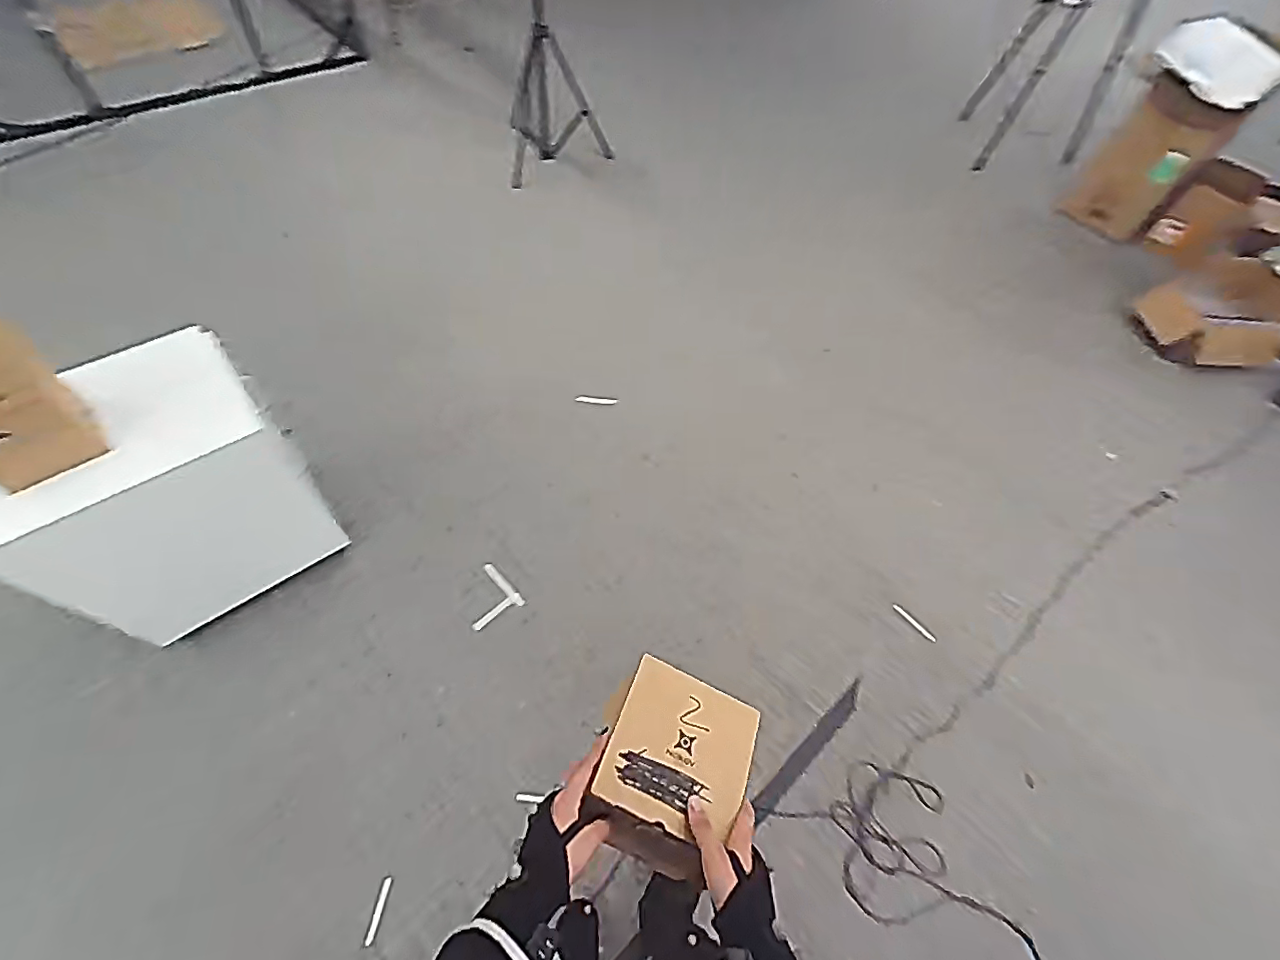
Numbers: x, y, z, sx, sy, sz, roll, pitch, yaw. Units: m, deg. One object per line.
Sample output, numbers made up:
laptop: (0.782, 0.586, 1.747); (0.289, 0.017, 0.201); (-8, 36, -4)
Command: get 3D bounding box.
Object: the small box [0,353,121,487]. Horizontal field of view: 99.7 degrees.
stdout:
small box: (-1.177, -0.118, 1.044); (0.179, 0.176, 0.168); (-34, 67, -25)
